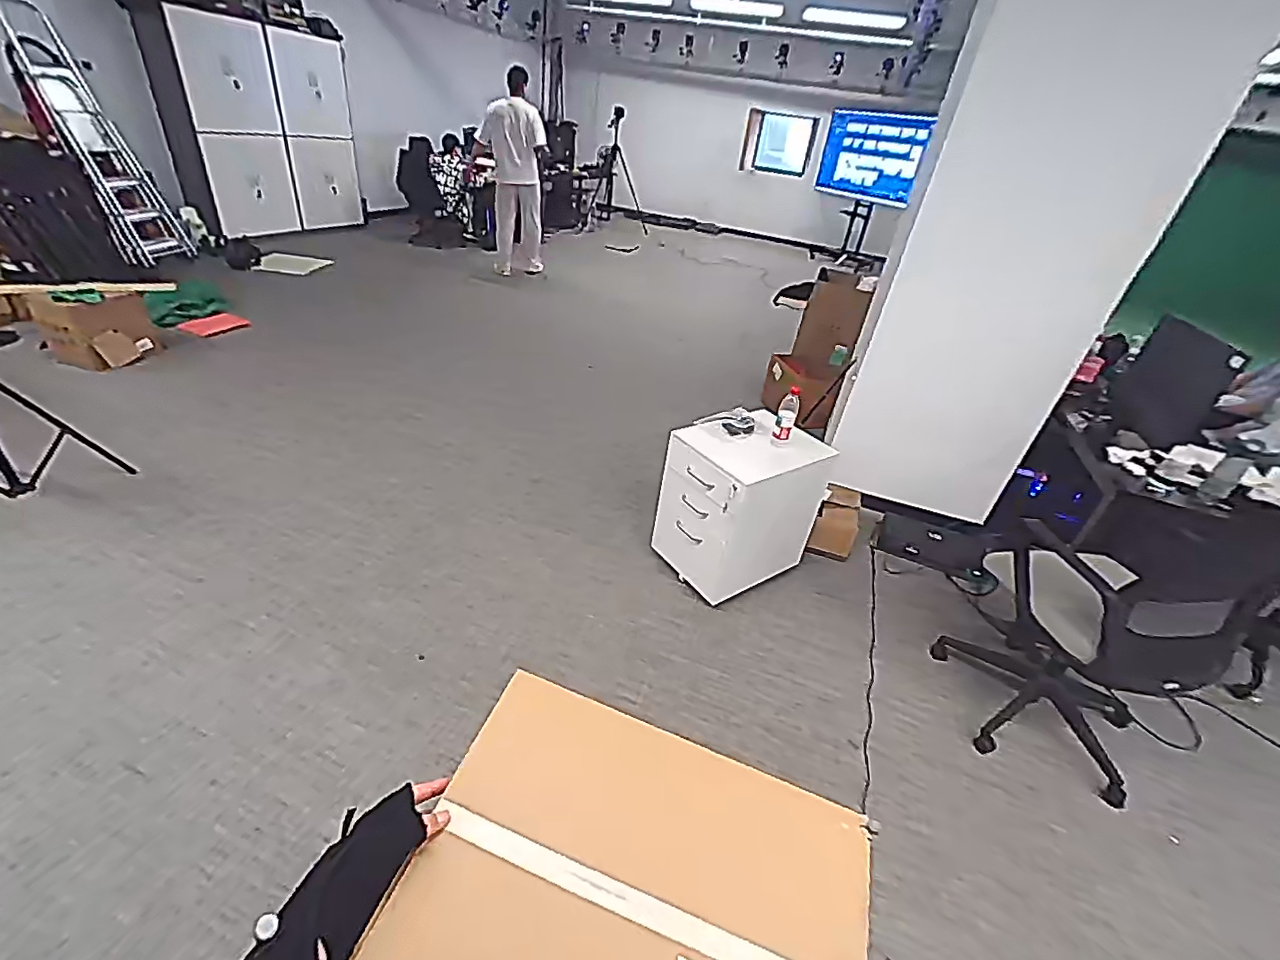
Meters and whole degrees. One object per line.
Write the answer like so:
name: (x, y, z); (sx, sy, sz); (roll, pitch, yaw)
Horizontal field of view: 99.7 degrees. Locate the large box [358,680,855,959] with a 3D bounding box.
large box: (-0.031, 0.492, 0.584); (0.408, 0.320, 0.320); (20, 42, 8)
